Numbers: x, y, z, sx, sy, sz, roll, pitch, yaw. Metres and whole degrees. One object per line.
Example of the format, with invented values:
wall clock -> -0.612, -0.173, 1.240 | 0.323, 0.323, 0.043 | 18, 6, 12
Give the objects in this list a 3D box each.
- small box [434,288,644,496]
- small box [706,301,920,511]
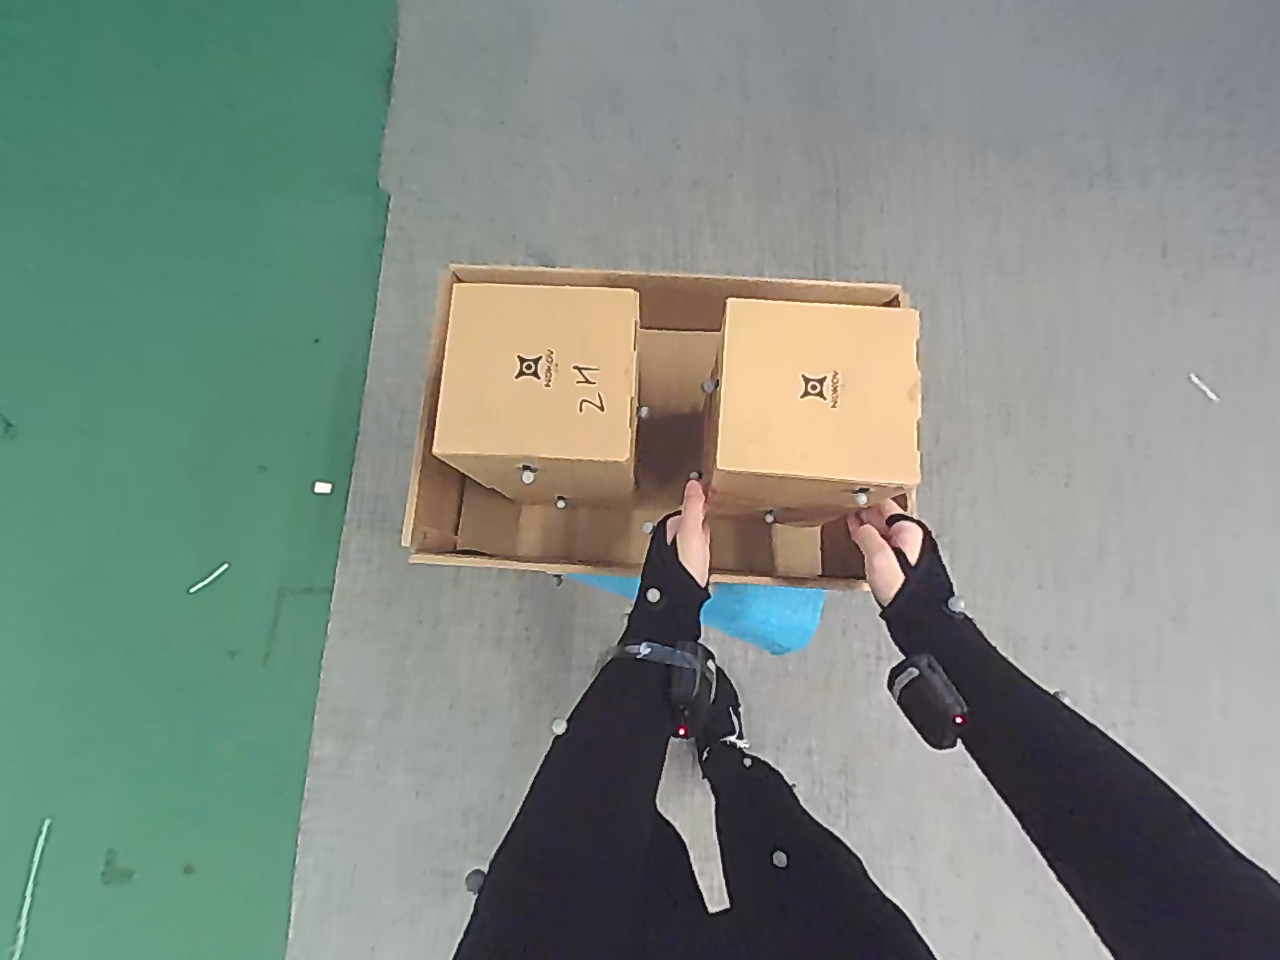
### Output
small box -> -0.089, -0.080, 0.566 | 0.179, 0.176, 0.168 | 3, 79, 1
small box -> 0.163, -0.064, 0.558 | 0.179, 0.176, 0.168 | 5, 79, 3
